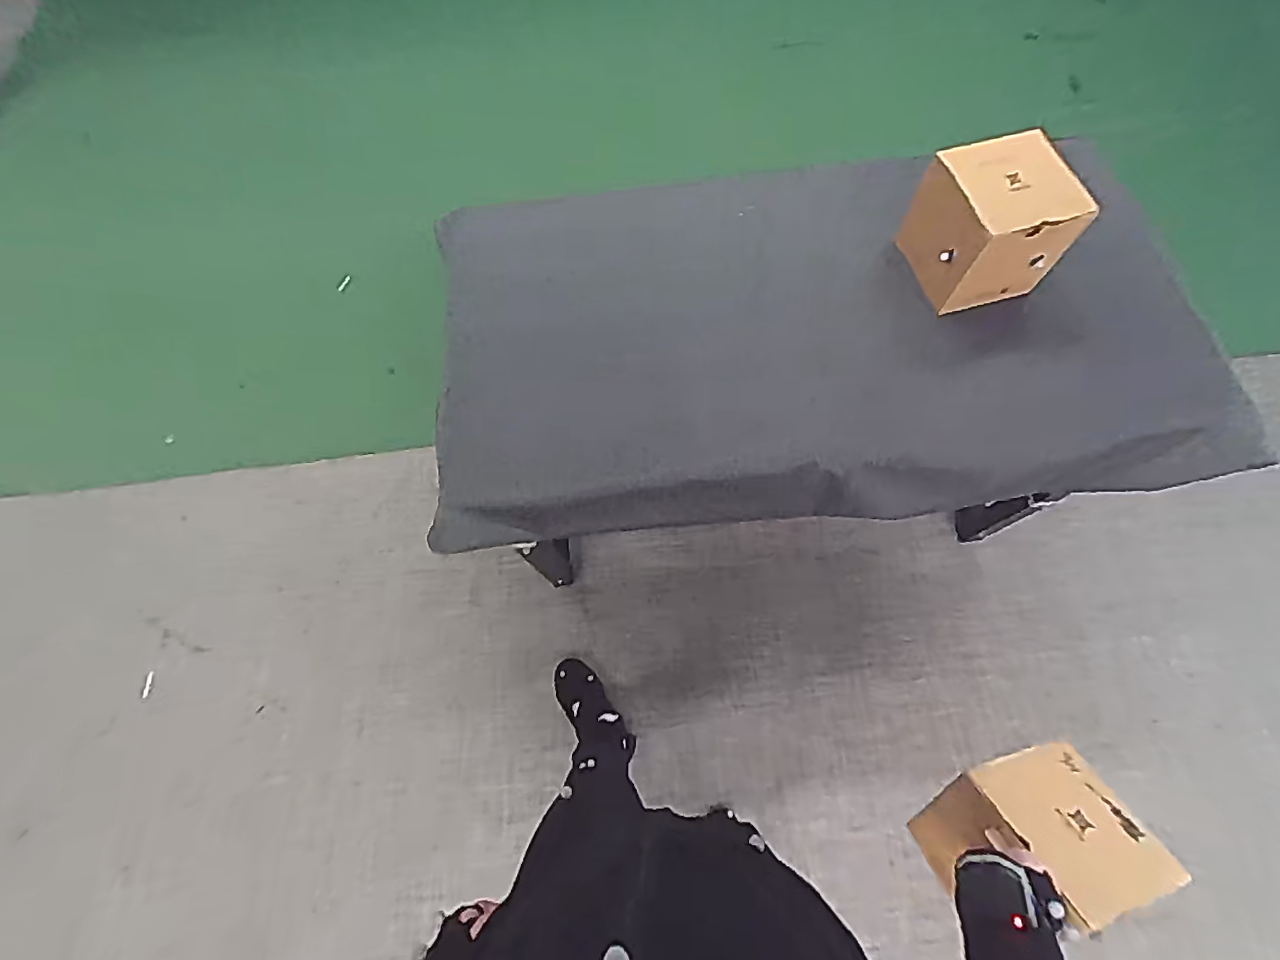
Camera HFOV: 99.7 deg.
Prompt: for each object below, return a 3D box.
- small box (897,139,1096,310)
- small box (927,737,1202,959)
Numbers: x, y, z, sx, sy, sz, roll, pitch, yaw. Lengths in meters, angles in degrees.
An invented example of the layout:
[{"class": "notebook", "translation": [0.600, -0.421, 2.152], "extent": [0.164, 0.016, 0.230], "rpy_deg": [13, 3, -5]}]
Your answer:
[{"class": "small box", "translation": [0.546, -0.392, 0.858], "extent": [0.168, 0.176, 0.179], "rpy_deg": [-14, 67, -4]}, {"class": "small box", "translation": [0.483, 0.447, 0.653], "extent": [0.179, 0.176, 0.168], "rpy_deg": [-3, 38, -18]}]
